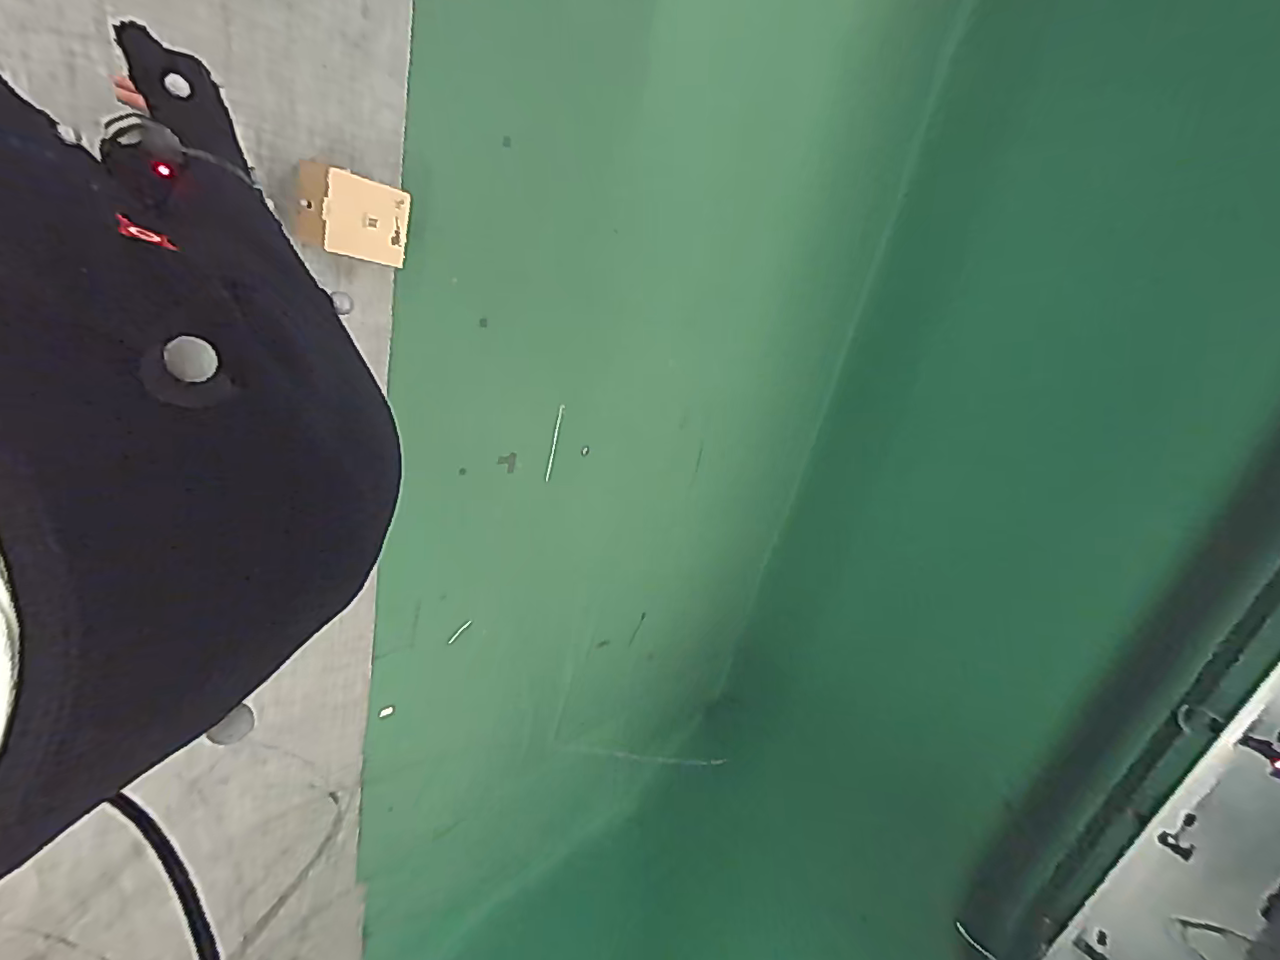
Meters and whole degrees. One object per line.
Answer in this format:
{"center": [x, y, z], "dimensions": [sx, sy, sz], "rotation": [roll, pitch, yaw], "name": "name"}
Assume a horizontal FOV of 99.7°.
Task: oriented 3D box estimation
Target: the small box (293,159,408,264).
{"center": [-0.657, -0.604, 1.220], "dimensions": [0.179, 0.176, 0.168], "rotation": [-5, 117, -50], "name": "small box"}
